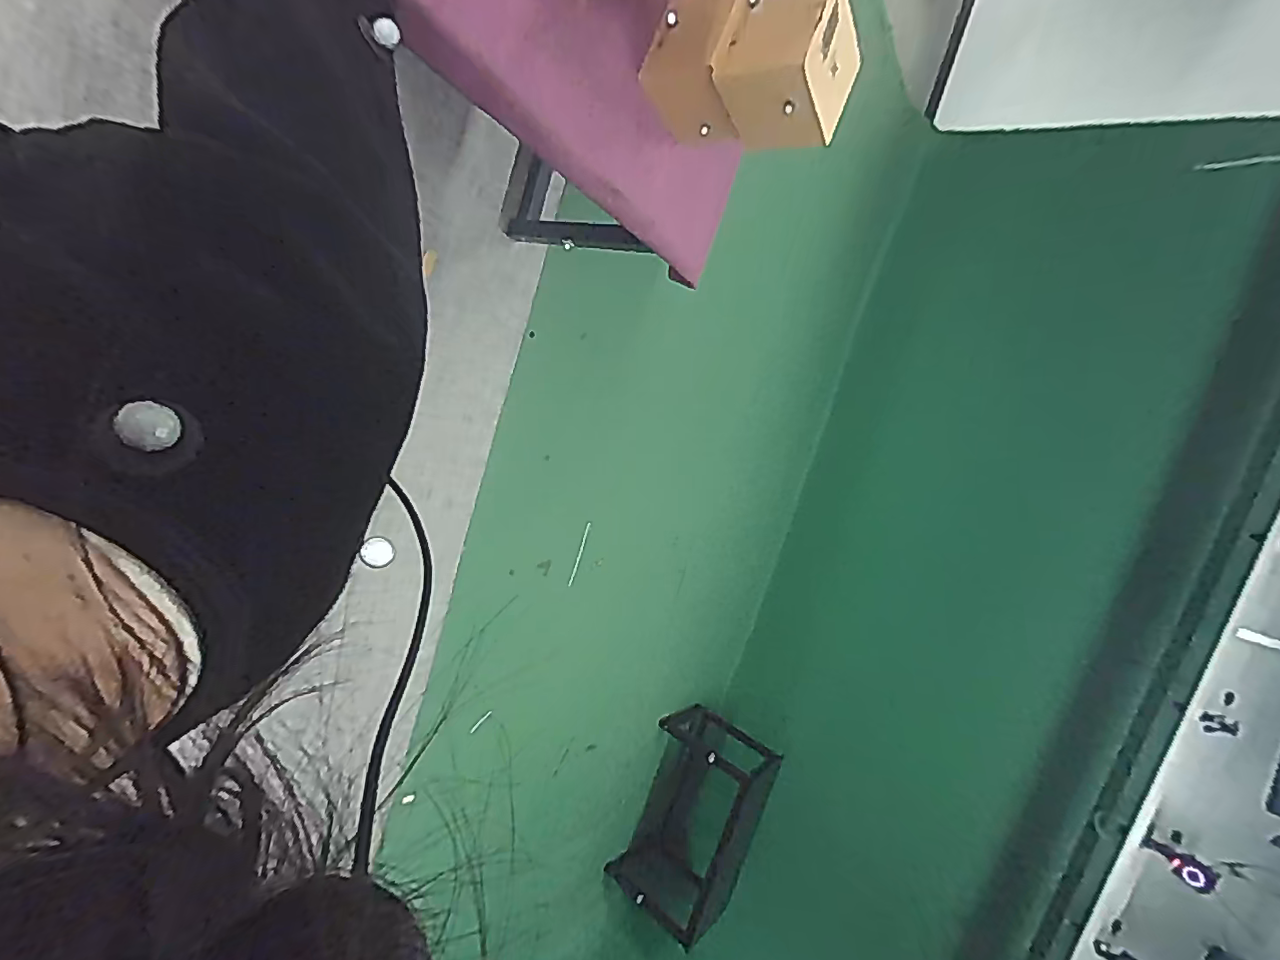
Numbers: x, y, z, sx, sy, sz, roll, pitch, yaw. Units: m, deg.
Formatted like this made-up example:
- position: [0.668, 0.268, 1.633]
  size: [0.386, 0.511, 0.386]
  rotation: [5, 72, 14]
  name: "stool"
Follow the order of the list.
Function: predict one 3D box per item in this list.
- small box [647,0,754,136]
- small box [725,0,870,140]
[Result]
- position: [0.145, -0.781, 1.012]
  size: [0.179, 0.176, 0.168]
  rotation: [24, 88, -55]
  name: "small box"
- position: [0.269, -0.715, 0.927]
  size: [0.179, 0.176, 0.168]
  rotation: [23, 89, -56]
  name: "small box"
